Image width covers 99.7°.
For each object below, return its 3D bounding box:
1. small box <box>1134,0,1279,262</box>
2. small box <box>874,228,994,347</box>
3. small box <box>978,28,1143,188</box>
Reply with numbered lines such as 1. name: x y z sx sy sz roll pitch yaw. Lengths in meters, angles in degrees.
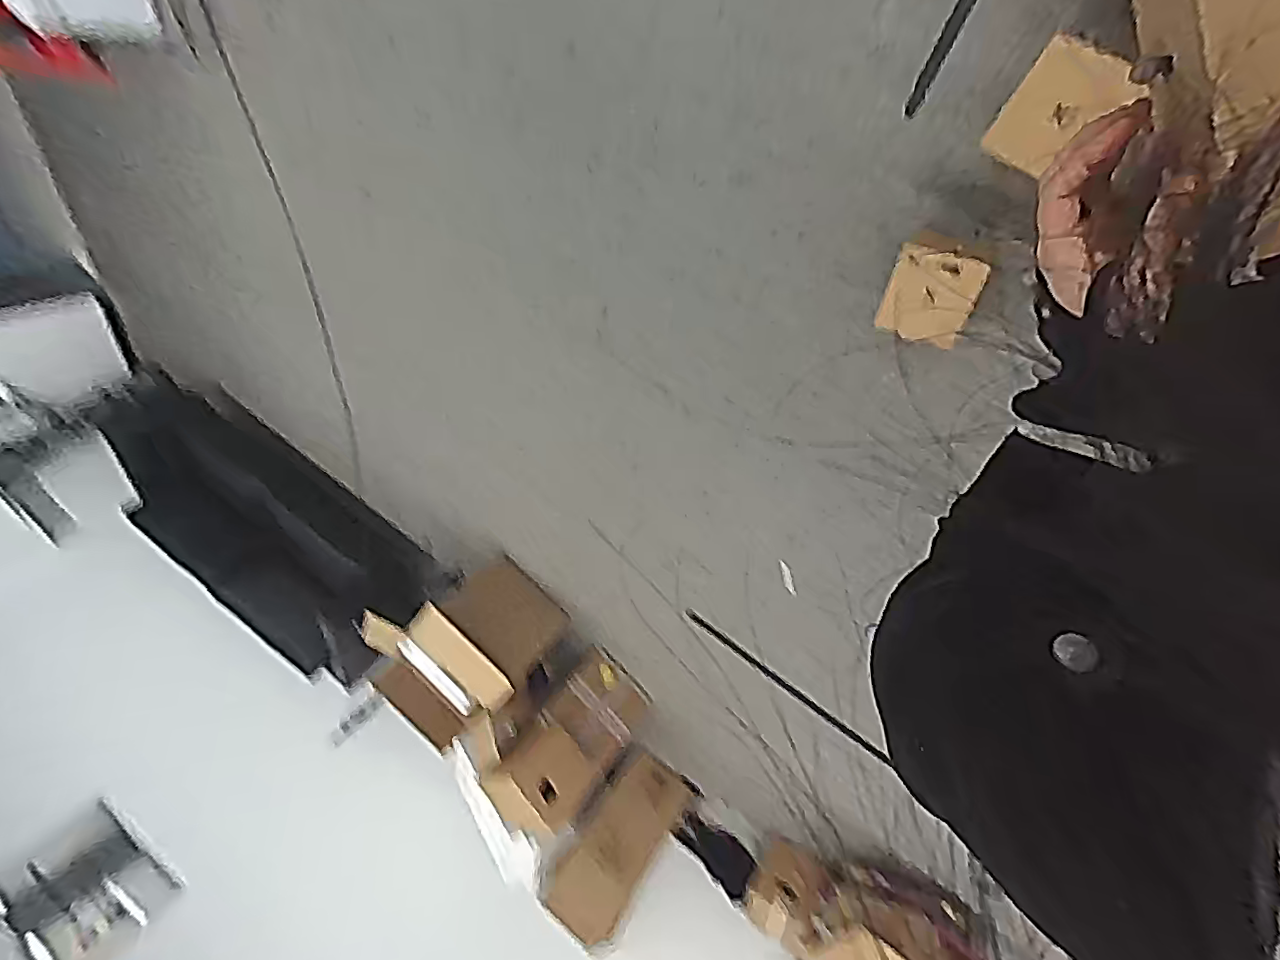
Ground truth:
1. small box: 0.340 -0.232 0.236 0.168 0.176 0.179 -12 117 41
2. small box: 0.629 -0.414 1.153 0.168 0.176 0.179 25 133 21
3. small box: 0.720 -0.629 0.921 0.179 0.176 0.168 36 136 10
